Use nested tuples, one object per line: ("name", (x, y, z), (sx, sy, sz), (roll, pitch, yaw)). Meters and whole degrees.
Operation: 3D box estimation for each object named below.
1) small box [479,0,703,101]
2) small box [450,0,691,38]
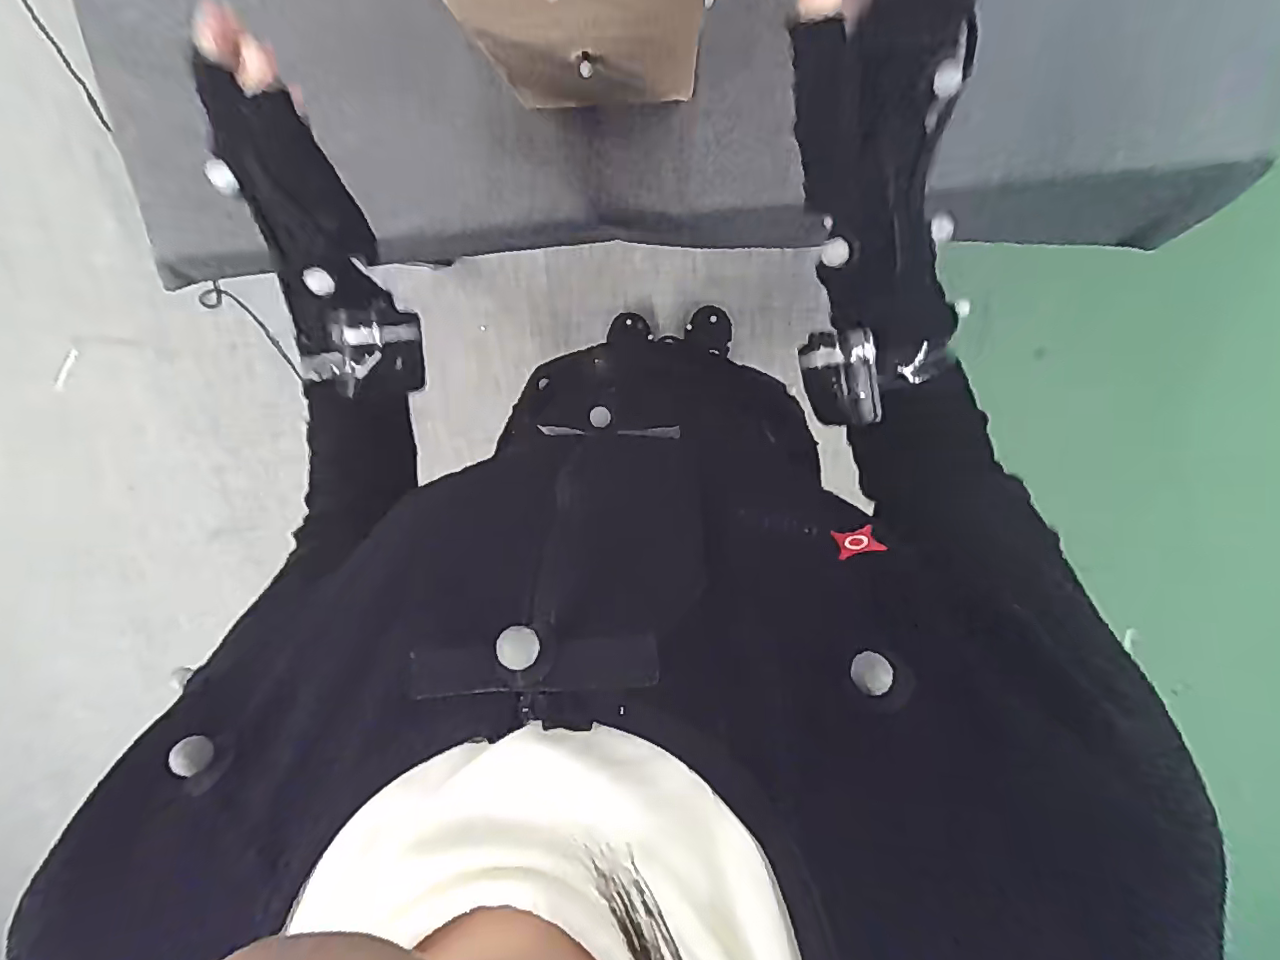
("small box", (-0.036, -0.446, 0.460), (0.179, 0.176, 0.168), (-1, 110, 4))
("small box", (-0.047, -0.387, 0.306), (0.179, 0.176, 0.168), (0, 109, 6))
